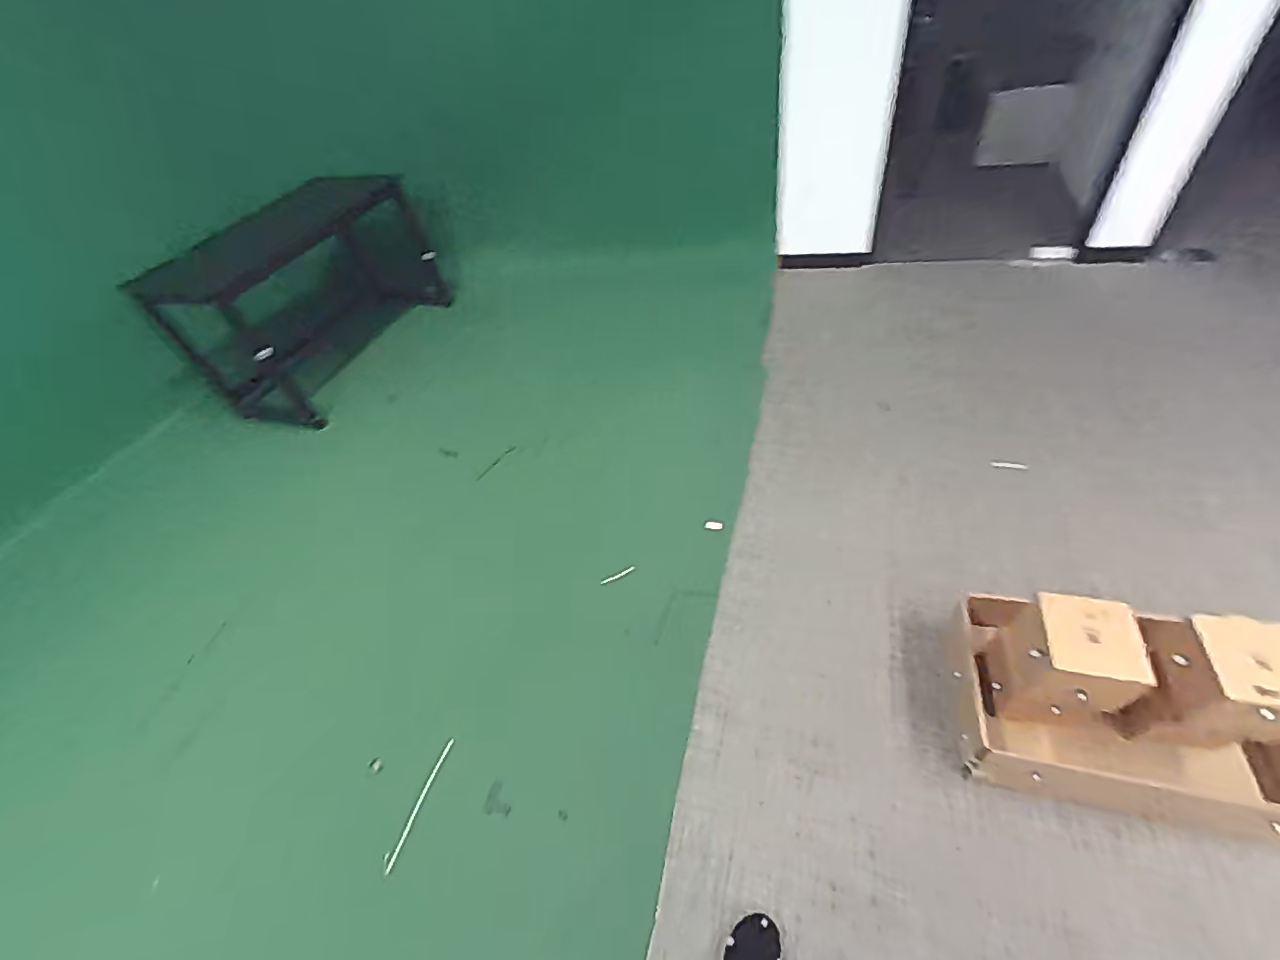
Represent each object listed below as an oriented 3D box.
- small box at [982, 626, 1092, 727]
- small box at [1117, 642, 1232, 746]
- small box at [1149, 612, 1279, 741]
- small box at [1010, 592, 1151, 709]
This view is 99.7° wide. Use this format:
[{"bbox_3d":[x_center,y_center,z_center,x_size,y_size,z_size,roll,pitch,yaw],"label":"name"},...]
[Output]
[{"bbox_3d":[0.936,0.466,1.277,0.179,0.176,0.168,3,50,12],"label":"small box"},{"bbox_3d":[1.198,0.480,1.209,0.179,0.176,0.168,1,49,12],"label":"small box"},{"bbox_3d":[1.173,0.389,1.073,0.168,0.176,0.179,3,49,16],"label":"small box"},{"bbox_3d":[0.919,0.365,1.149,0.168,0.176,0.179,6,51,15],"label":"small box"}]
